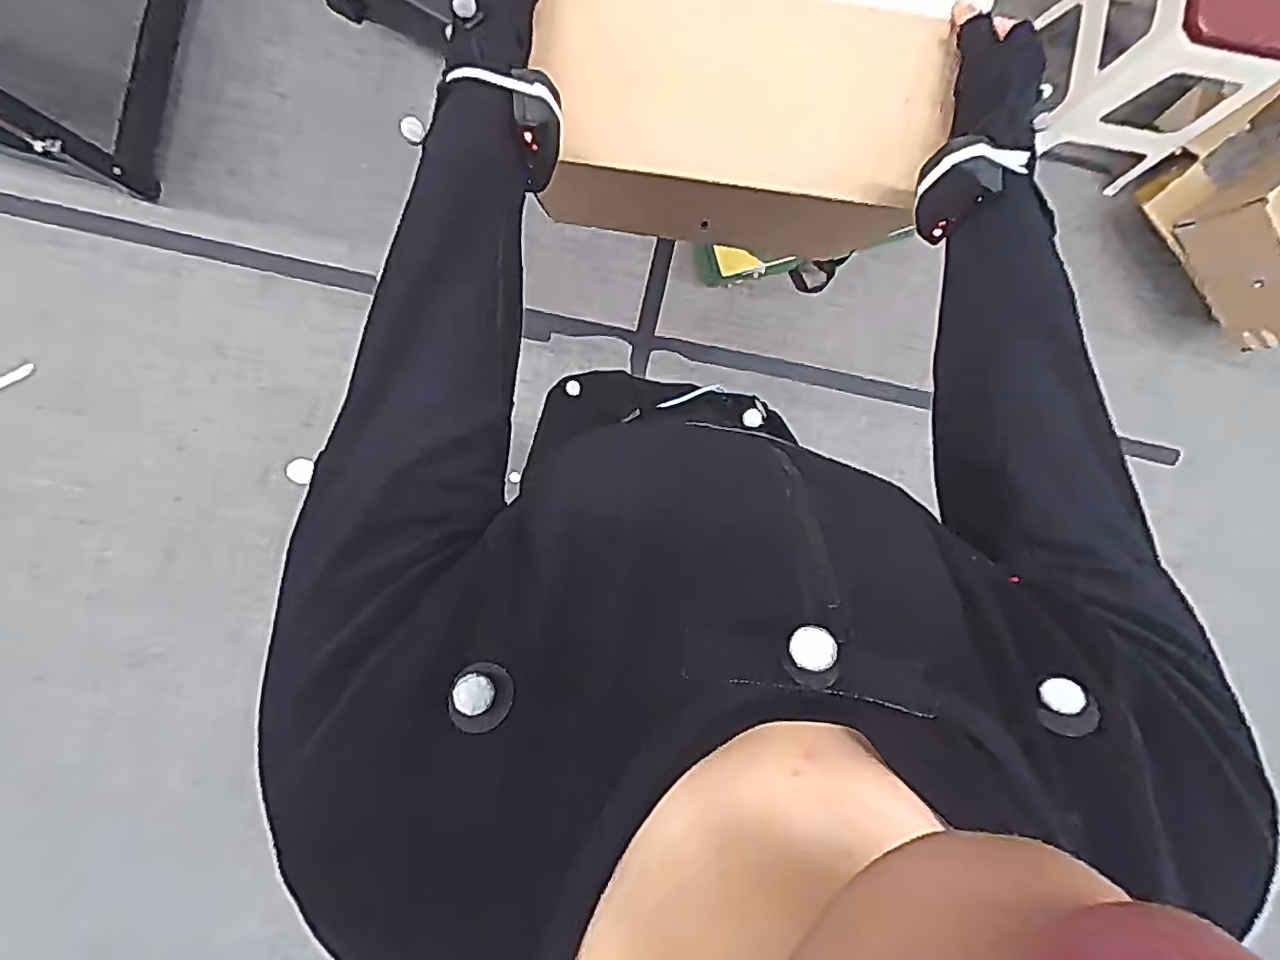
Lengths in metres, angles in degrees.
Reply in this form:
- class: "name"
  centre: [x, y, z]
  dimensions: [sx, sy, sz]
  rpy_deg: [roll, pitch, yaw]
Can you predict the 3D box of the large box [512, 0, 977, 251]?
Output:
- class: "large box"
  centre: [0.094, -0.462, 0.610]
  dimensions: [0.408, 0.320, 0.320]
  rpy_deg: [6, 103, -3]
